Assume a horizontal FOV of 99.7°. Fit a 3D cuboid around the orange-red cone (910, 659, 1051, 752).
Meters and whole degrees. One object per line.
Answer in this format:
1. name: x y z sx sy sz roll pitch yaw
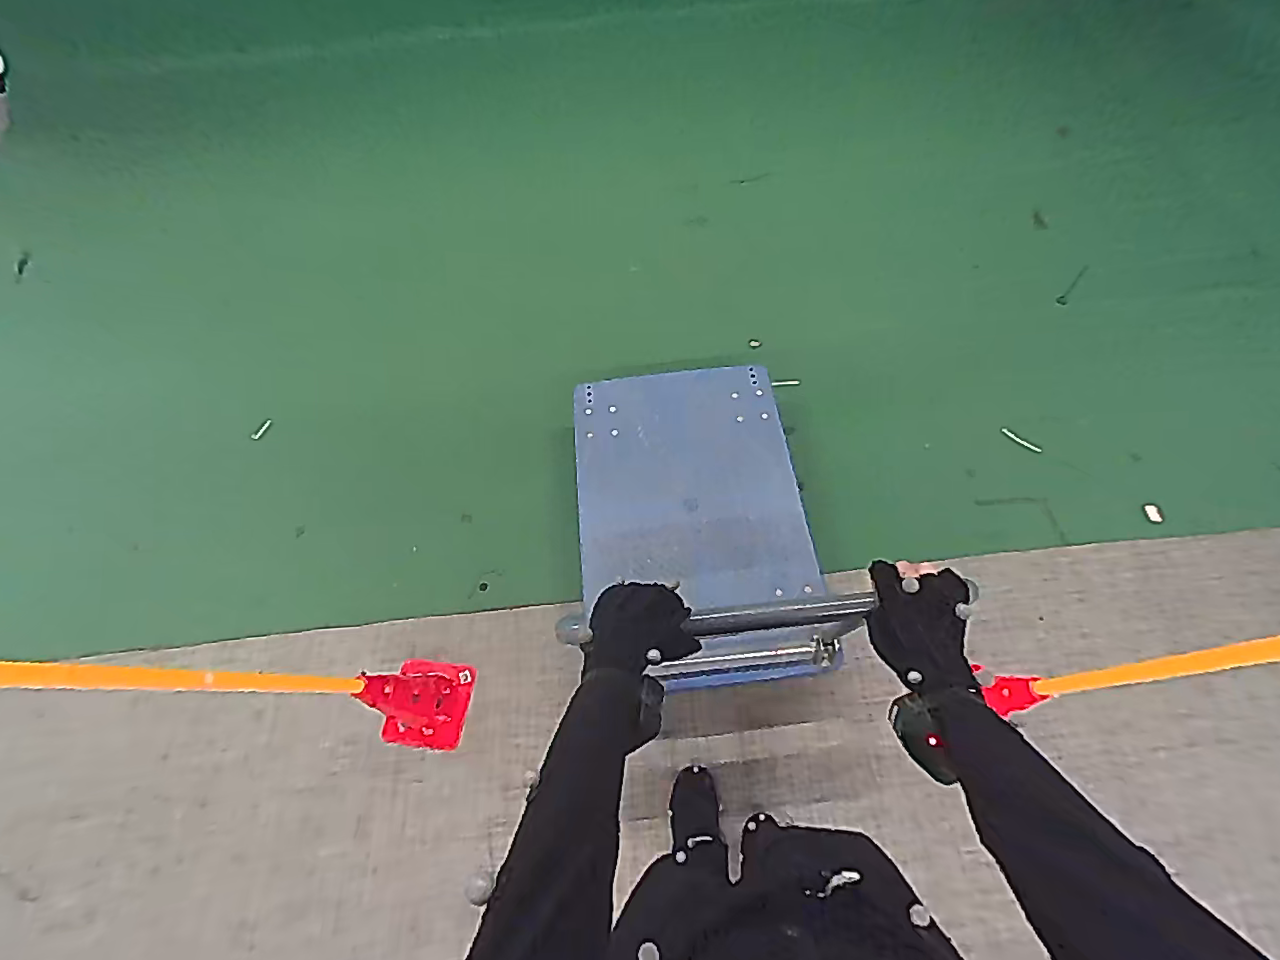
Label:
1. orange-red cone: 0.751 0.463 1.153 0.198 0.360 0.199 3 63 5
